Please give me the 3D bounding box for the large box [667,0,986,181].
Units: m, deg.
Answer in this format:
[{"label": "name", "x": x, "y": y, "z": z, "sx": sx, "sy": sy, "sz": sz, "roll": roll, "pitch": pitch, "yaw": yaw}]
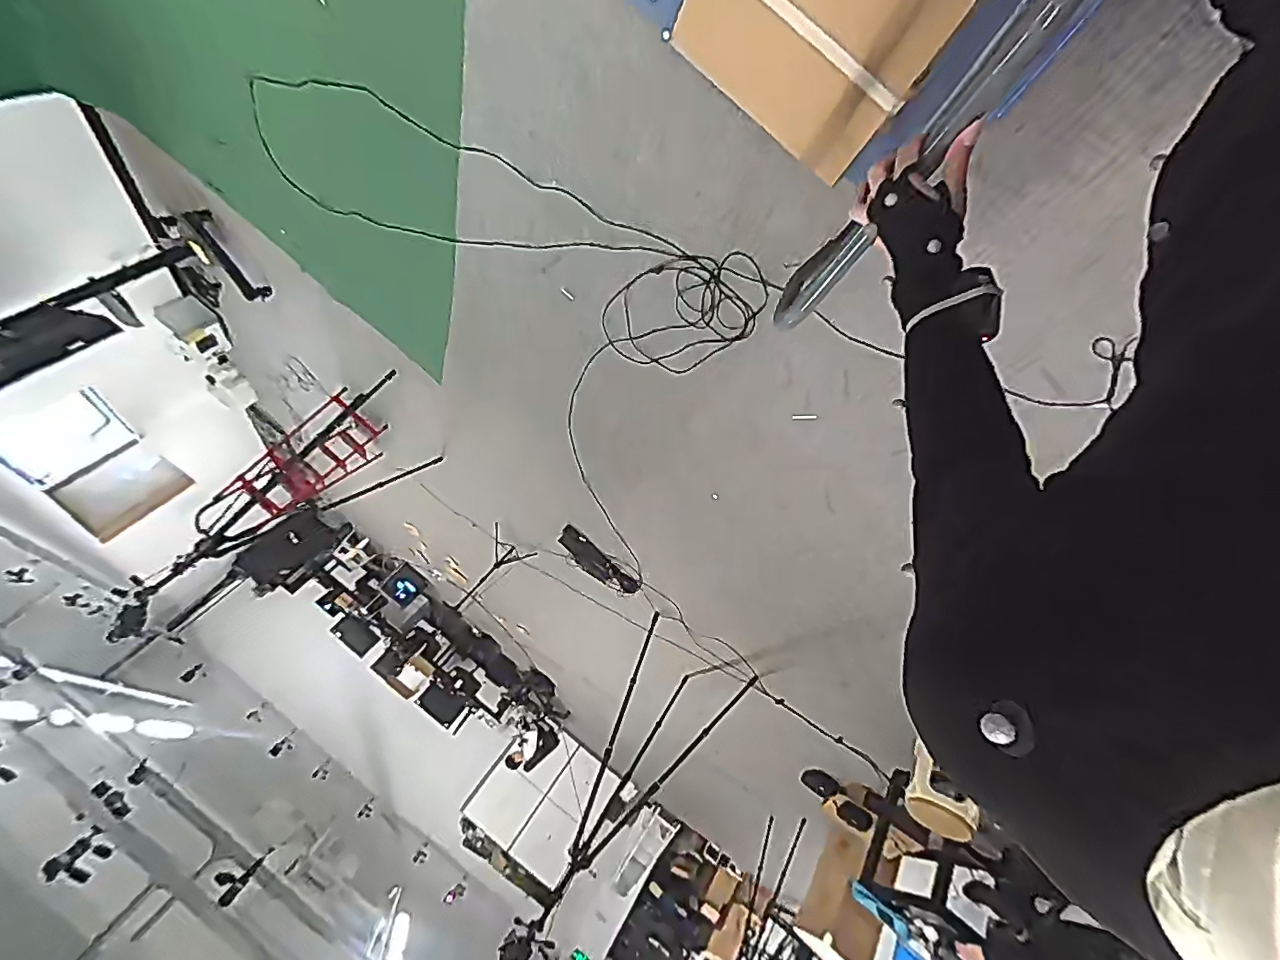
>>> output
[{"label": "large box", "x": 0.333, "y": -0.825, "z": 0.937, "sx": 0.408, "sy": 0.320, "sz": 0.320, "roll": 42, "pitch": 147, "yaw": -1}]
